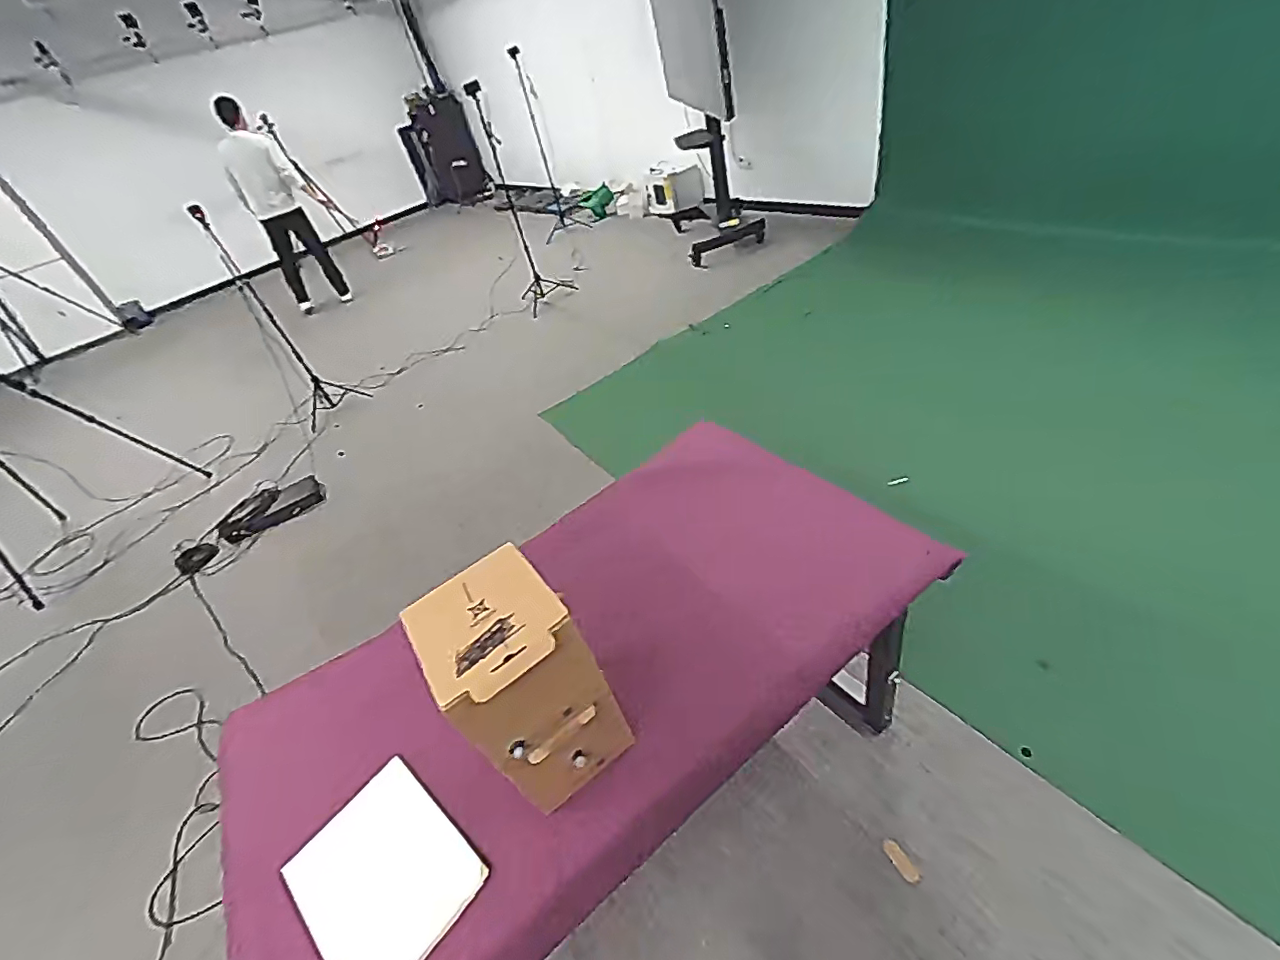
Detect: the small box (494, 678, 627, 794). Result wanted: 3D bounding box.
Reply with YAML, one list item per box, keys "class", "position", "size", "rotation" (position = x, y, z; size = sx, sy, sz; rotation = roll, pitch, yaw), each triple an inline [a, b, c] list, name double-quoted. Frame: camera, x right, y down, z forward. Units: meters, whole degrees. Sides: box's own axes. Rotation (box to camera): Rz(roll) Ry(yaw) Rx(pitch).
- class: "small box"
  position: [-0.140, 0.336, 0.814]
  size: [0.168, 0.176, 0.179]
  rotation: [-33, 43, -19]

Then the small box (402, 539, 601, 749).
- class: "small box"
  position: [-0.174, 0.217, 0.705]
  size: [0.168, 0.176, 0.179]
  rotation: [-33, 41, -19]
